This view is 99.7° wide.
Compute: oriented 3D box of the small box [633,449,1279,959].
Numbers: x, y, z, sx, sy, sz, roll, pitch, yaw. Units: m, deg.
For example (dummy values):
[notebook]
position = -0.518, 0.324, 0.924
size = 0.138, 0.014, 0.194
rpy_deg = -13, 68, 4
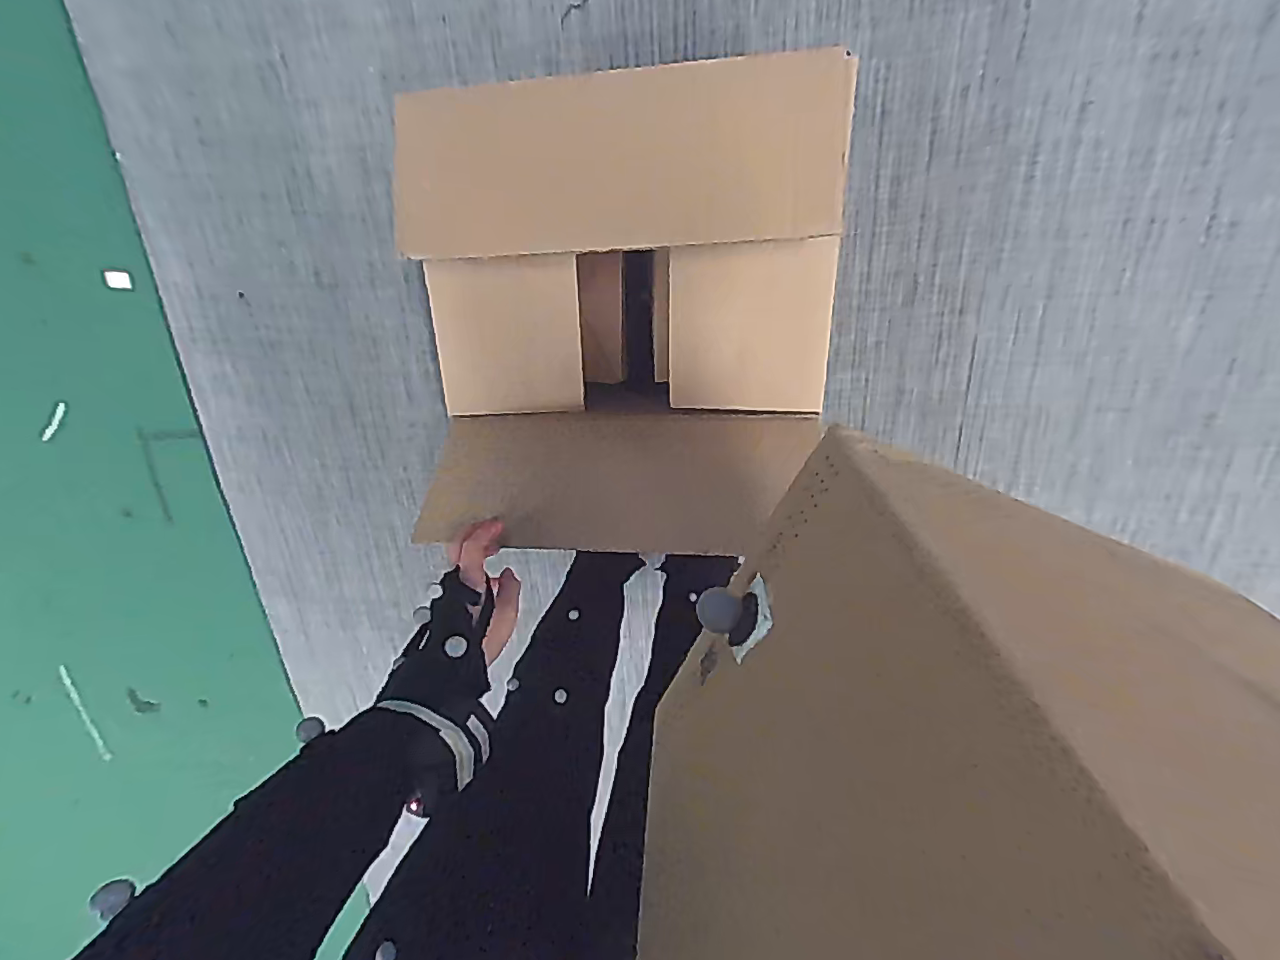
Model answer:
[small box]
position = 0.109, 0.109, 0.173
size = 0.179, 0.176, 0.168
rpy_deg = 22, 113, -4
